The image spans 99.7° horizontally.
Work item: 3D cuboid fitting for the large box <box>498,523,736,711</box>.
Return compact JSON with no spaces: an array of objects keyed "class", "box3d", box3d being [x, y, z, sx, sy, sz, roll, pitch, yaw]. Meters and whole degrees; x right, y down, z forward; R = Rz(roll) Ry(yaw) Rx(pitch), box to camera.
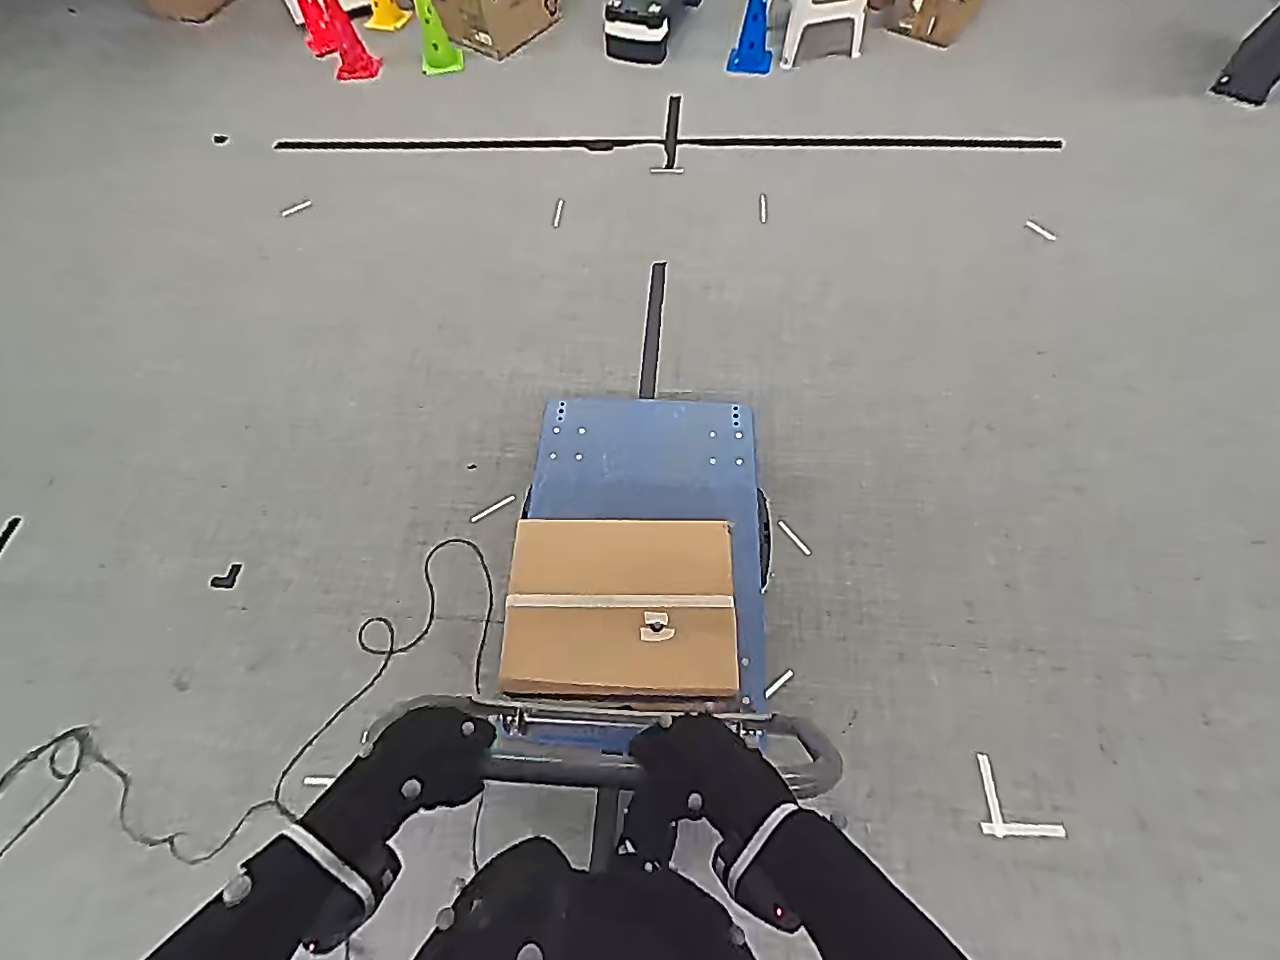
[{"class":"large box","box3d":[-0.037,0.287,1.088,0.408,0.320,0.320,1,64,2]}]
